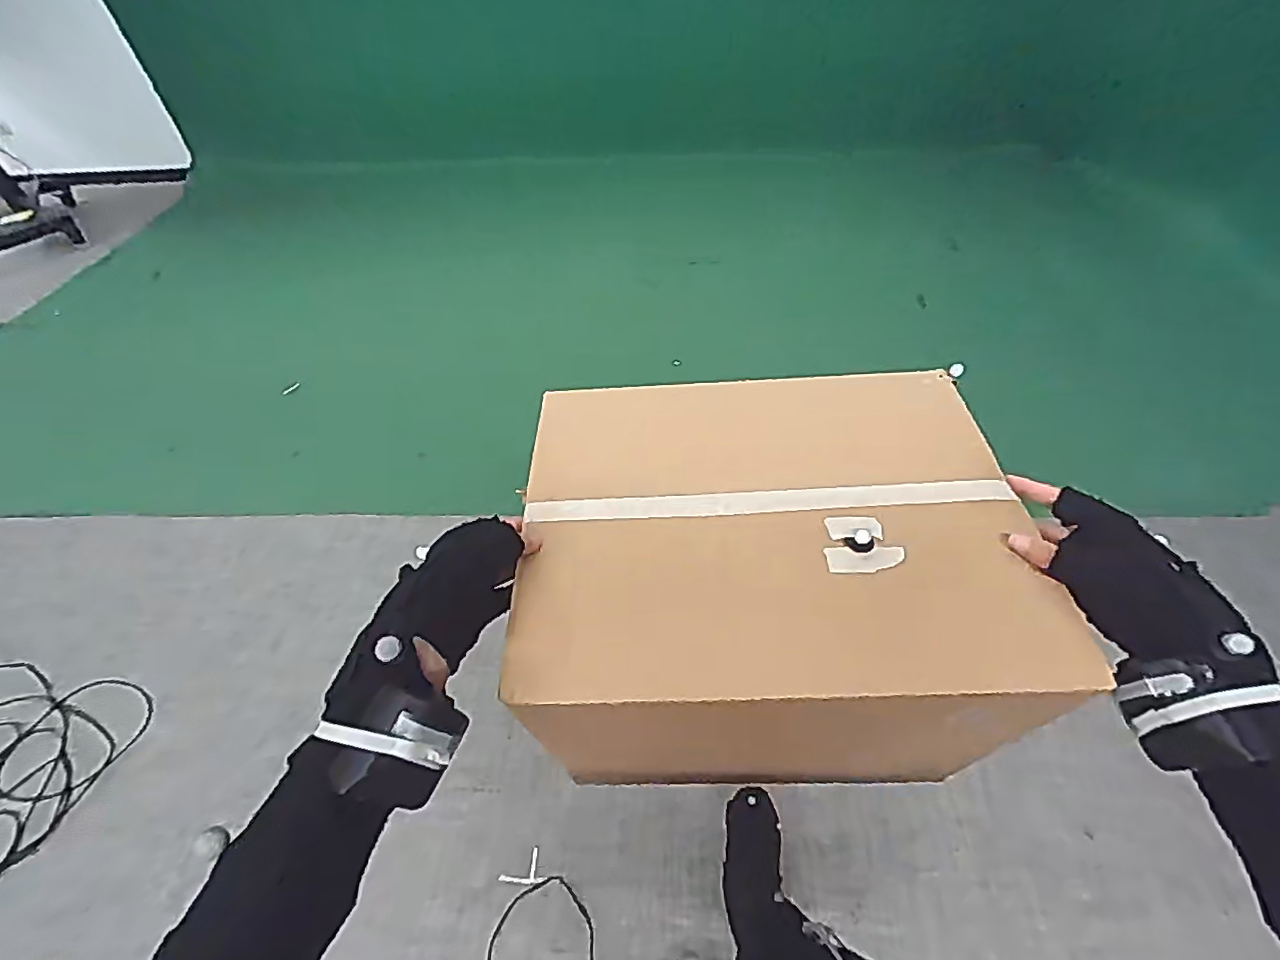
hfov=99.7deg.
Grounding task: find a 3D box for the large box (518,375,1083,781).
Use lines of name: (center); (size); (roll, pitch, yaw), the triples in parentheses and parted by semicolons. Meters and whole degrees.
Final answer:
large box: (0.114, 0.117, 0.585); (0.408, 0.320, 0.320); (-4, 52, 3)
